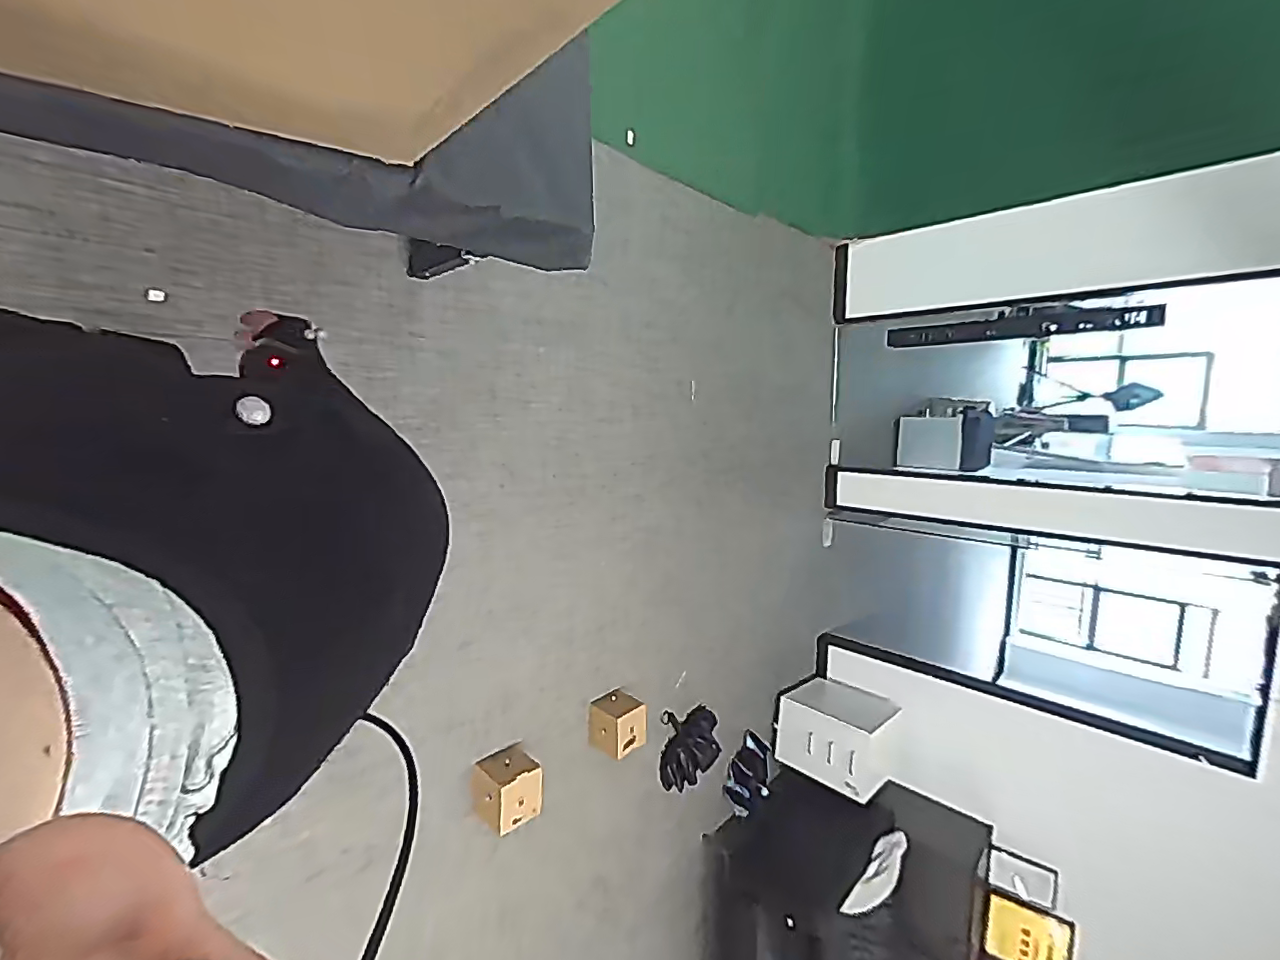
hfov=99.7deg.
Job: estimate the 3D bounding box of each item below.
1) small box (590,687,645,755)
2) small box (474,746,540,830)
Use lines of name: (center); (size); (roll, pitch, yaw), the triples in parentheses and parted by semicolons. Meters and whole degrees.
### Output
small box: (-0.095, 0.994, 2.241); (0.168, 0.176, 0.179); (-7, 100, -45)
small box: (-0.462, 1.052, 1.873); (0.168, 0.176, 0.179); (-4, 98, -46)
